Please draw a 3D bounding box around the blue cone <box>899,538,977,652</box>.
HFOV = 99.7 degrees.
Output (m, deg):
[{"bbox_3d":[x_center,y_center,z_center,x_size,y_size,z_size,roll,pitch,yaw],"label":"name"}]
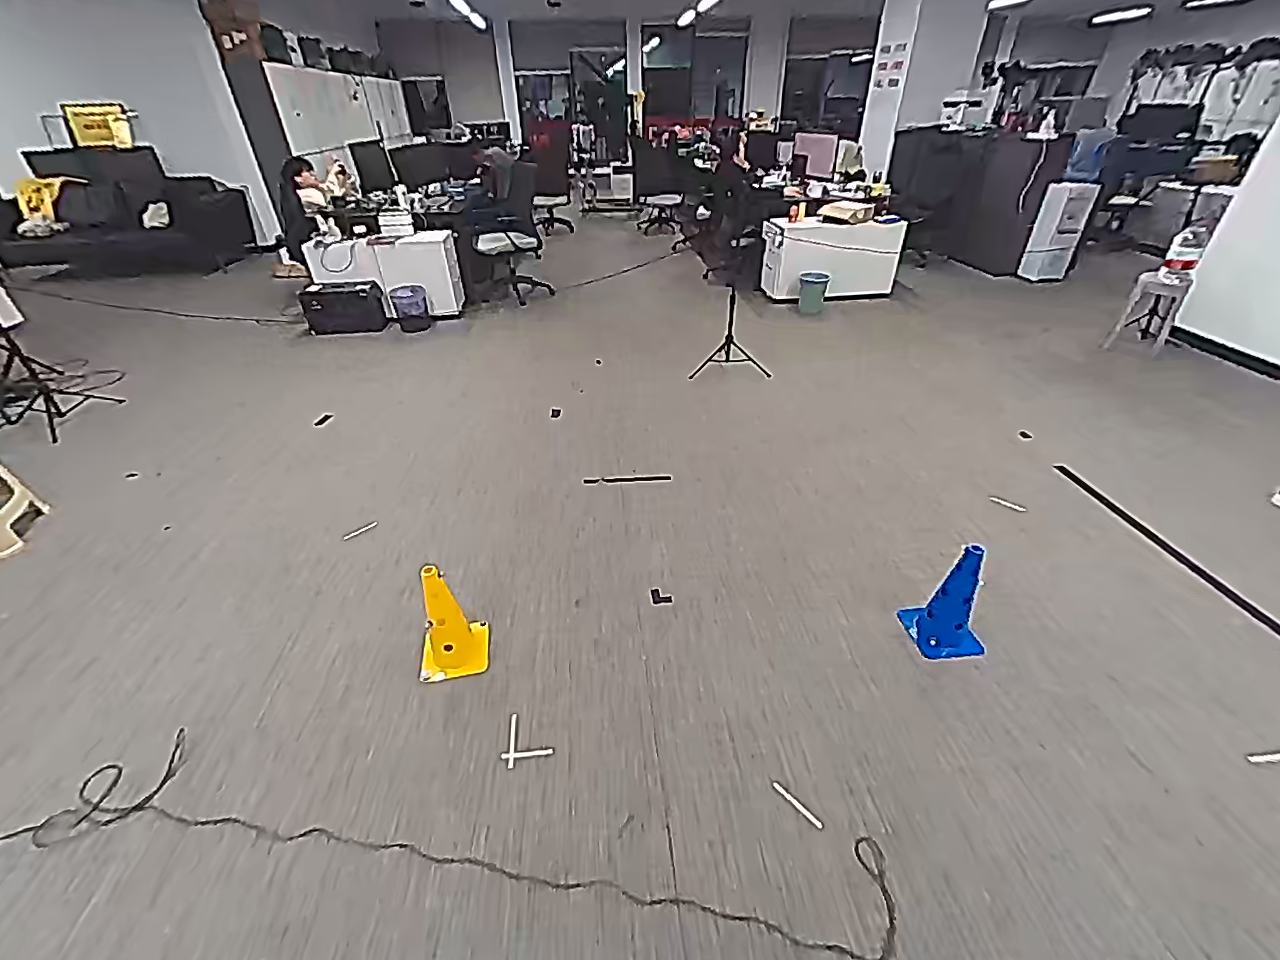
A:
[{"bbox_3d":[0.955,0.338,1.649,0.193,0.380,0.192,-3,34,-3],"label":"blue cone"}]
